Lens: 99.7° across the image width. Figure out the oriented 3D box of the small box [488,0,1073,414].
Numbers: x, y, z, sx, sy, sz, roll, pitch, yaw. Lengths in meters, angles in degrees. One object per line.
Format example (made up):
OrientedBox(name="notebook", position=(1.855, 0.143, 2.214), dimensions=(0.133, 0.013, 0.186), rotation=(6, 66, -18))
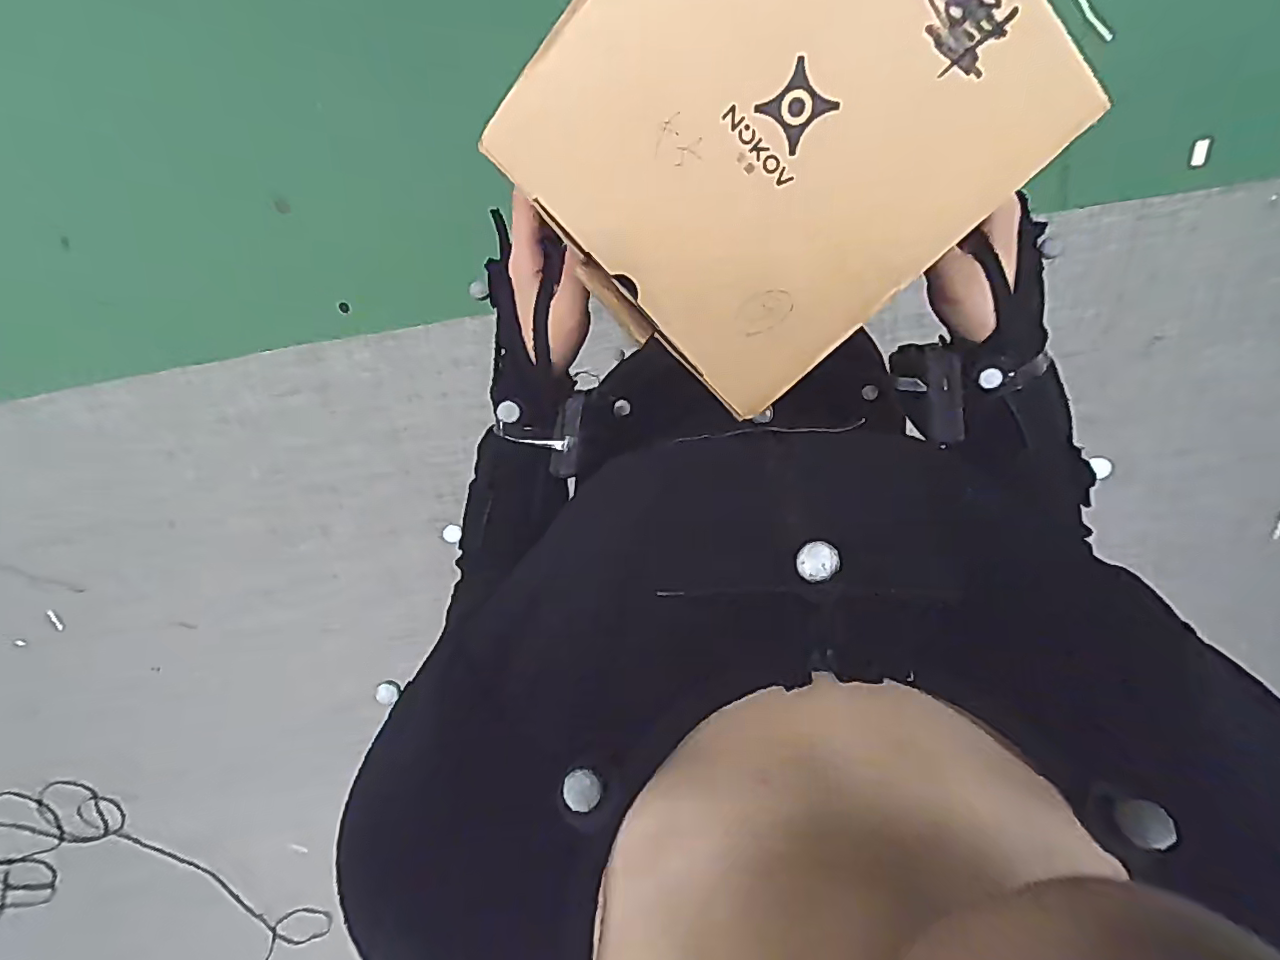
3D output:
OrientedBox(name="small box", position=(0.058, -0.169, 0.290), dimensions=(0.168, 0.176, 0.179), rotation=(43, 111, -13))
